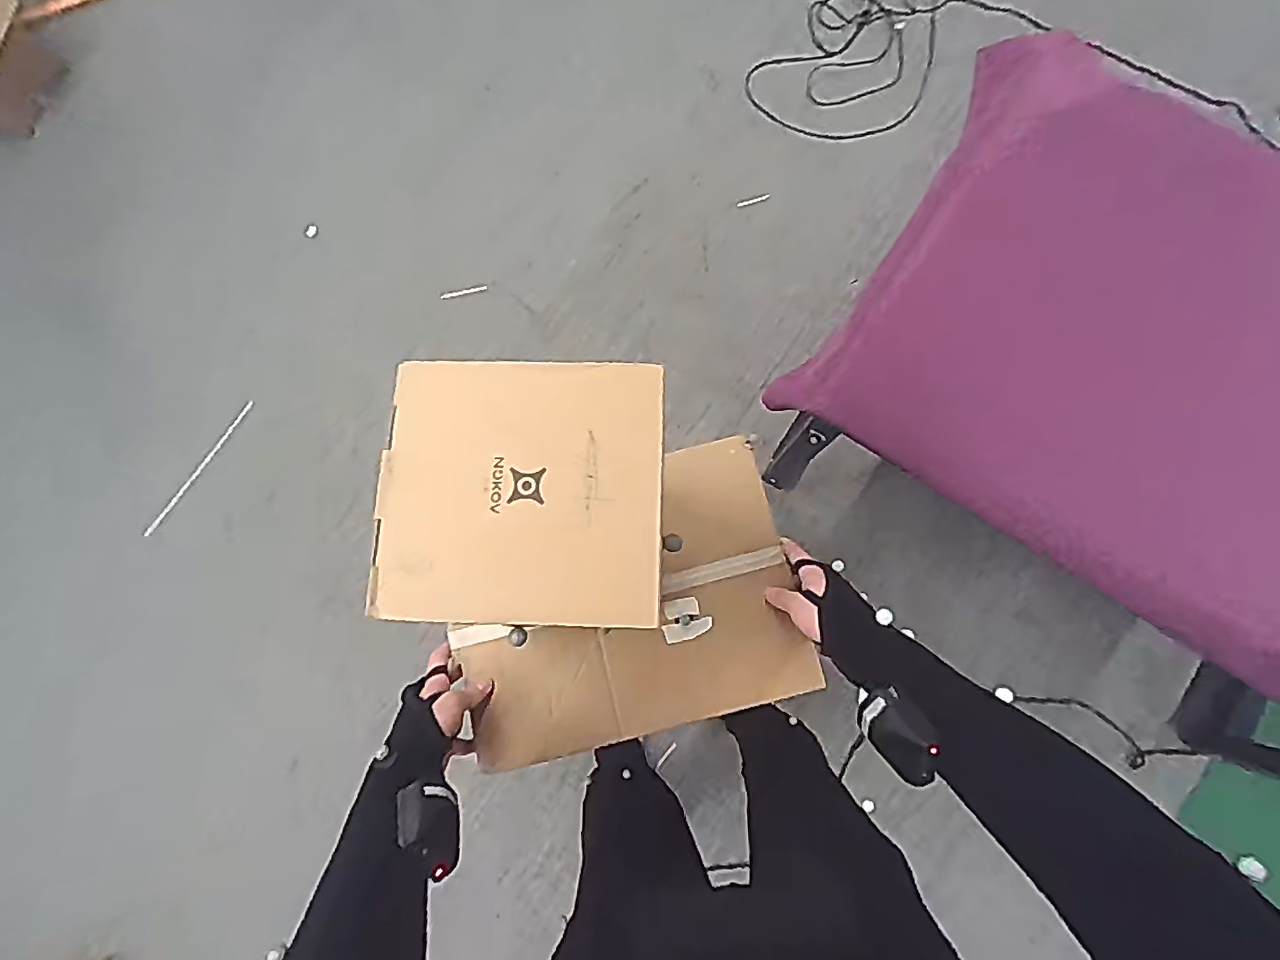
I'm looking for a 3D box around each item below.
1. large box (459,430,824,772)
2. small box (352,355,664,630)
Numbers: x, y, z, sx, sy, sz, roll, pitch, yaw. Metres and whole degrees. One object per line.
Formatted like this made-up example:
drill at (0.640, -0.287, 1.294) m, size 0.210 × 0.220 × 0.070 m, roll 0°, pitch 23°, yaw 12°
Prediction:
large box at (-0.015, 0.165, 0.782) m, size 0.408 × 0.320 × 0.320 m, roll -15°, pitch 78°, yaw -1°
small box at (-0.073, 0.021, 0.402) m, size 0.179 × 0.176 × 0.168 m, roll 2°, pitch 77°, yaw 3°
